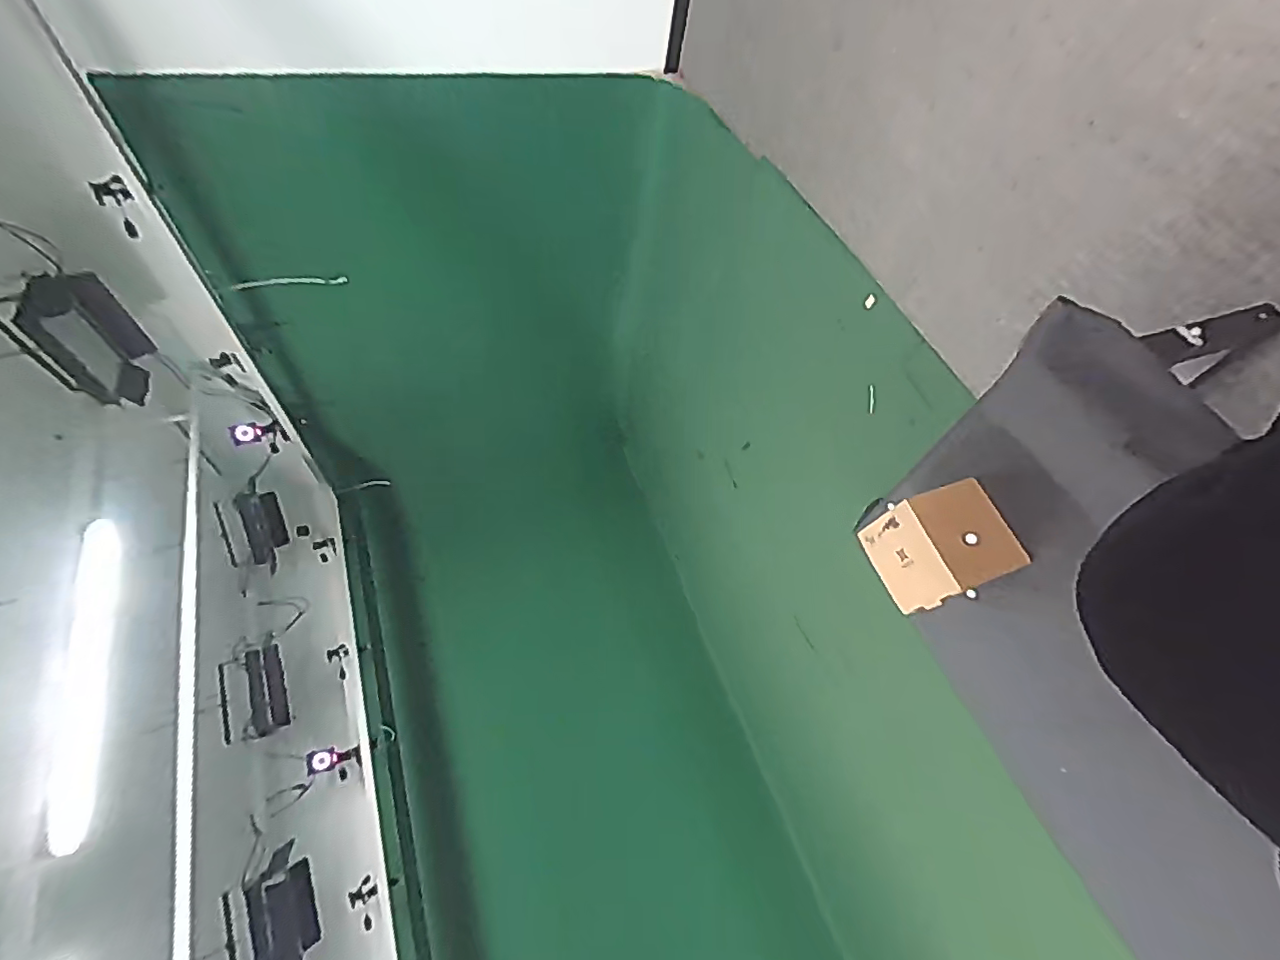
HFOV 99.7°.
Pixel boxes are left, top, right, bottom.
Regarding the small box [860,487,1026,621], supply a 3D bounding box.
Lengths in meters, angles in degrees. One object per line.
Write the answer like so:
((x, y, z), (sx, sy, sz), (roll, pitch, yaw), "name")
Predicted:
((0.558, 0.137, 1.004), (0.168, 0.176, 0.179), (112, 139, -60), "small box")
